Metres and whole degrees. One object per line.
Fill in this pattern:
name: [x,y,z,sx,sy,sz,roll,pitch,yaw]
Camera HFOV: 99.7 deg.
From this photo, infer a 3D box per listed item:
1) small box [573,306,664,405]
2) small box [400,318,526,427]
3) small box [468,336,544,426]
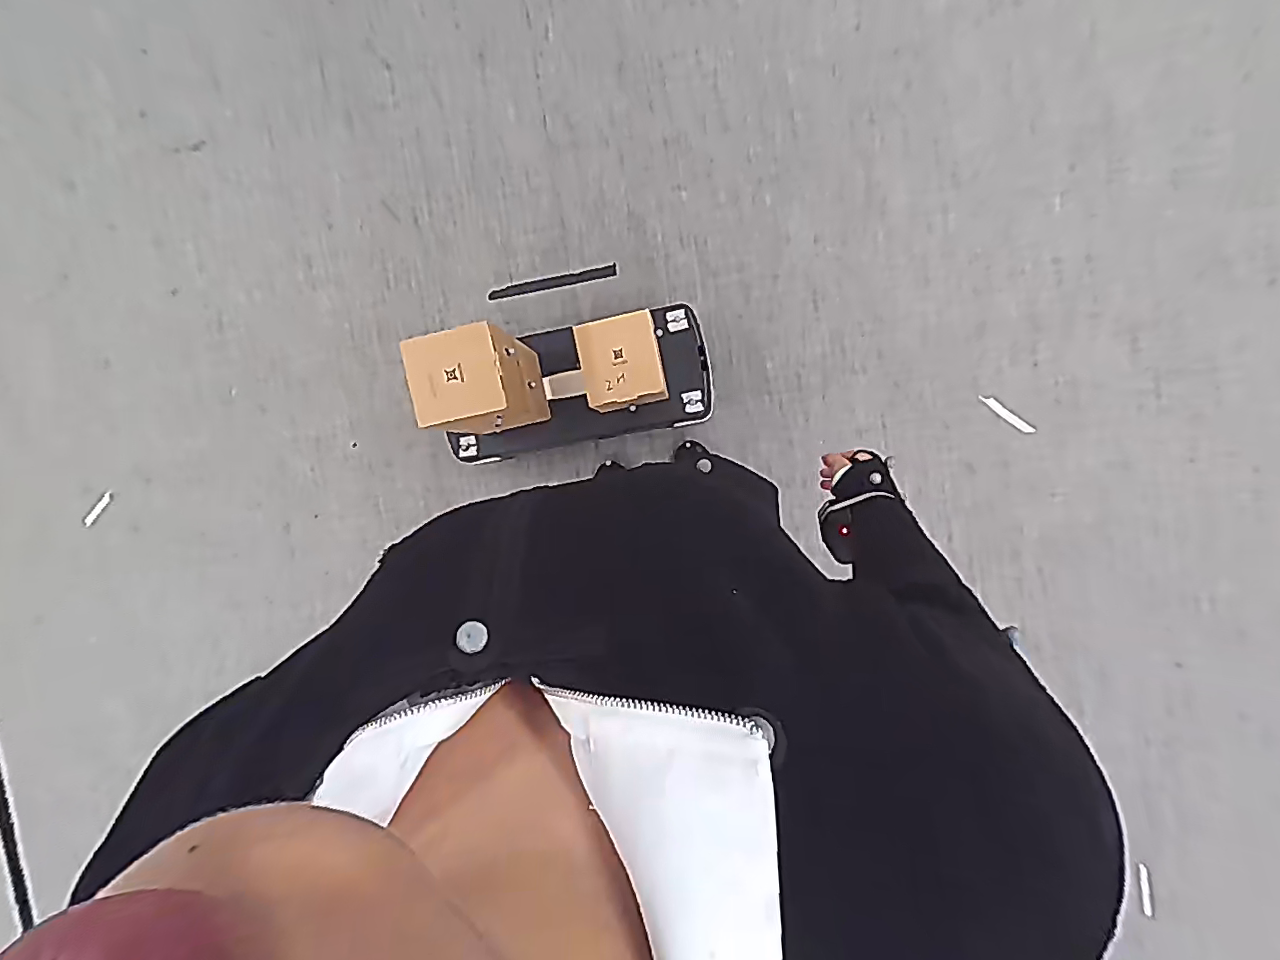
small box: [-0.041,-0.269,1.212,0.168,0.176,0.179,-10,93,6]
small box: [-0.337,-0.204,1.073,0.179,0.176,0.168,-13,91,5]
small box: [-0.326,-0.215,1.236,0.179,0.176,0.168,-12,93,5]
